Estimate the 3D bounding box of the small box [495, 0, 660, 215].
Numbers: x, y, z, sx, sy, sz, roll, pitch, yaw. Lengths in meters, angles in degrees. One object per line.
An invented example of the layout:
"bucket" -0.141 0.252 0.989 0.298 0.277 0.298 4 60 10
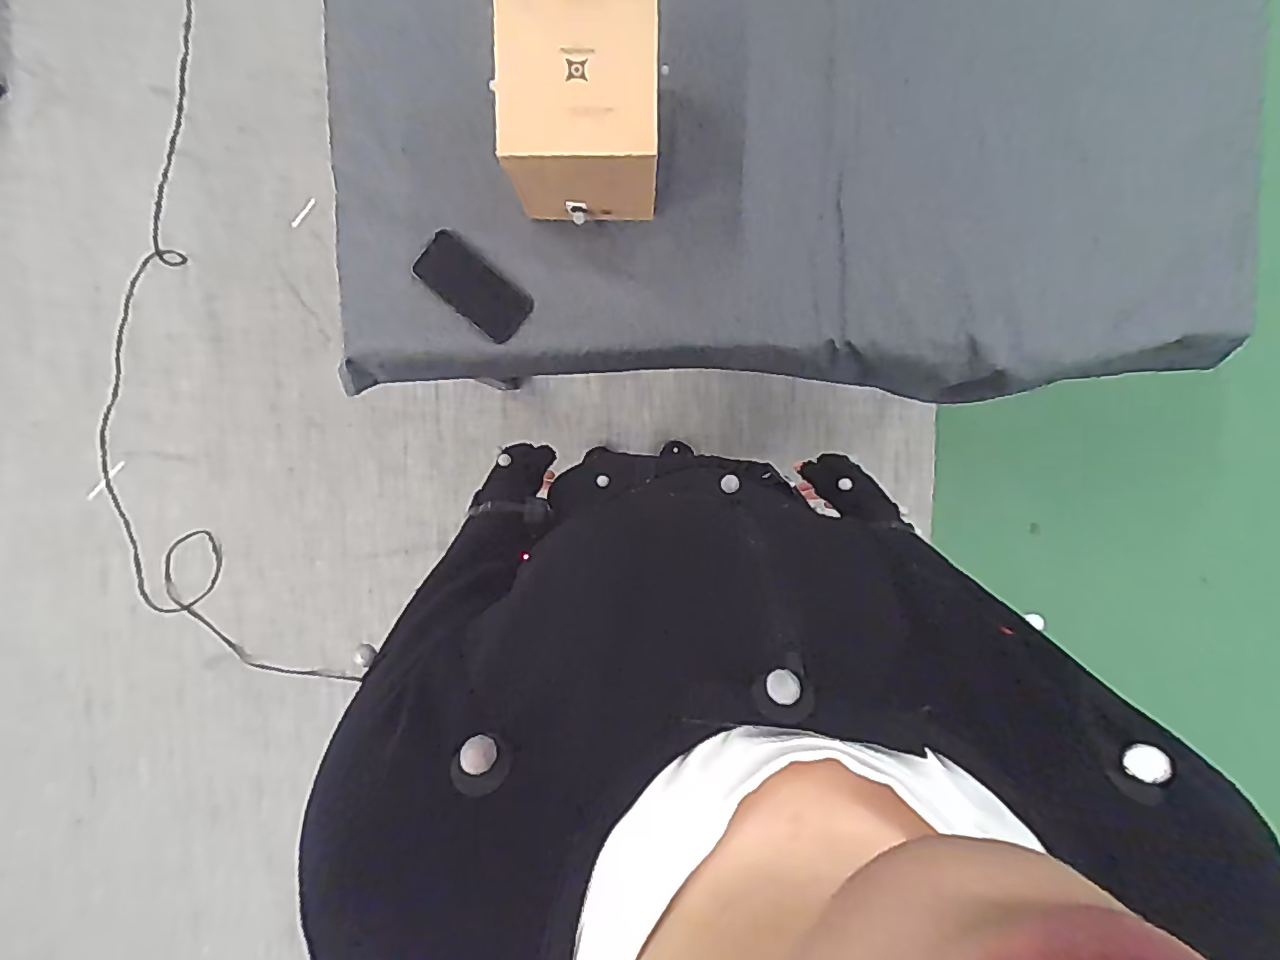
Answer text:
"small box" -0.063 -0.427 0.617 0.168 0.176 0.179 0 95 0
